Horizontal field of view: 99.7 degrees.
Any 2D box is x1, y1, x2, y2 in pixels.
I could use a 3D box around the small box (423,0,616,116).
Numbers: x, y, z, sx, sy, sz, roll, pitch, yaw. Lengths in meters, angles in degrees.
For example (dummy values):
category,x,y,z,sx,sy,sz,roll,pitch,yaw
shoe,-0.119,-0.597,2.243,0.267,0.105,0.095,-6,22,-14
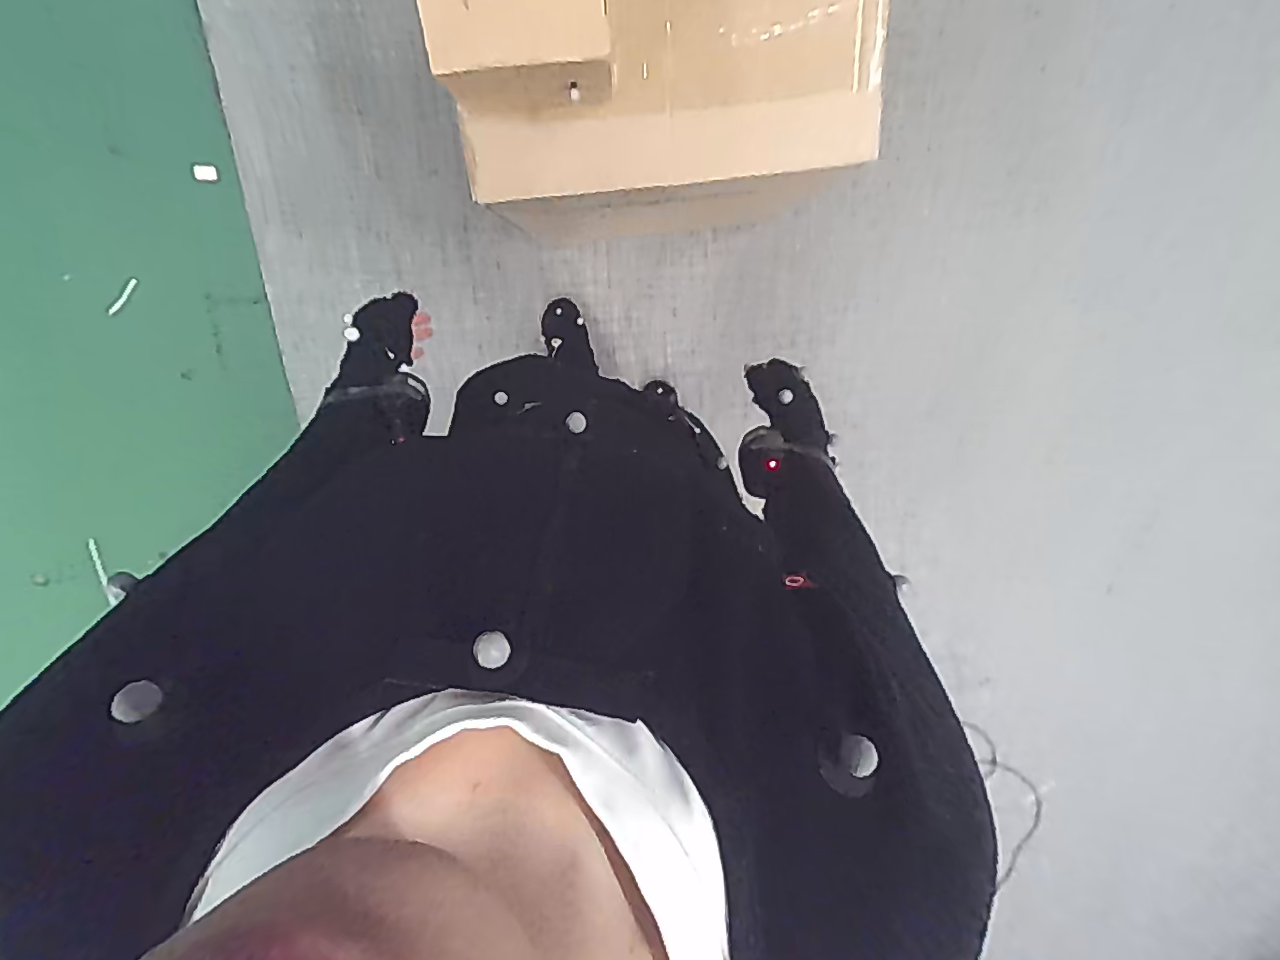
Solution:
category,x,y,z,sx,sy,sz,roll,pitch,yaw
small box,-0.120,-0.502,0.565,0.179,0.176,0.168,-6,112,1
